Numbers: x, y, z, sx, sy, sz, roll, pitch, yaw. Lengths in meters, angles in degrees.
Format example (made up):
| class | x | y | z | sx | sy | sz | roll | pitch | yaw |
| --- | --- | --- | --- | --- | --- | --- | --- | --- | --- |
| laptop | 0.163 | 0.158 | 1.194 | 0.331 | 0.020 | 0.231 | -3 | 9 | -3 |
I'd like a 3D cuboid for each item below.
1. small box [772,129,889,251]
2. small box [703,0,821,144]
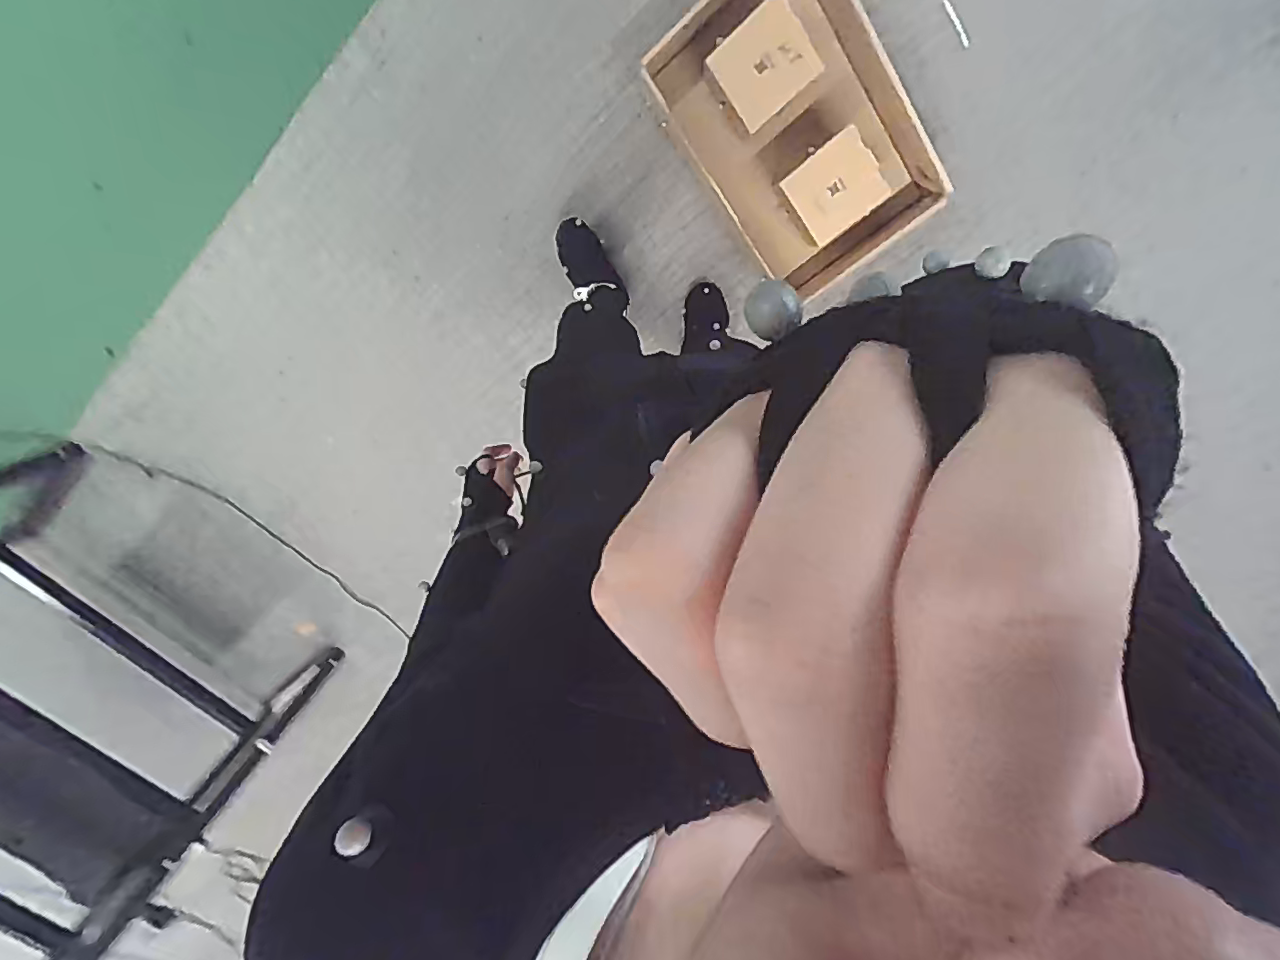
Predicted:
| class | x | y | z | sx | sy | sz | roll | pitch | yaw |
| --- | --- | --- | --- | --- | --- | --- | --- | --- | --- |
| small box | 0.418 | -0.643 | 1.217 | 0.179 | 0.176 | 0.168 | -34 | 106 | 19 |
| small box | 0.249 | -0.845 | 1.137 | 0.179 | 0.176 | 0.168 | -34 | 108 | 18 |
